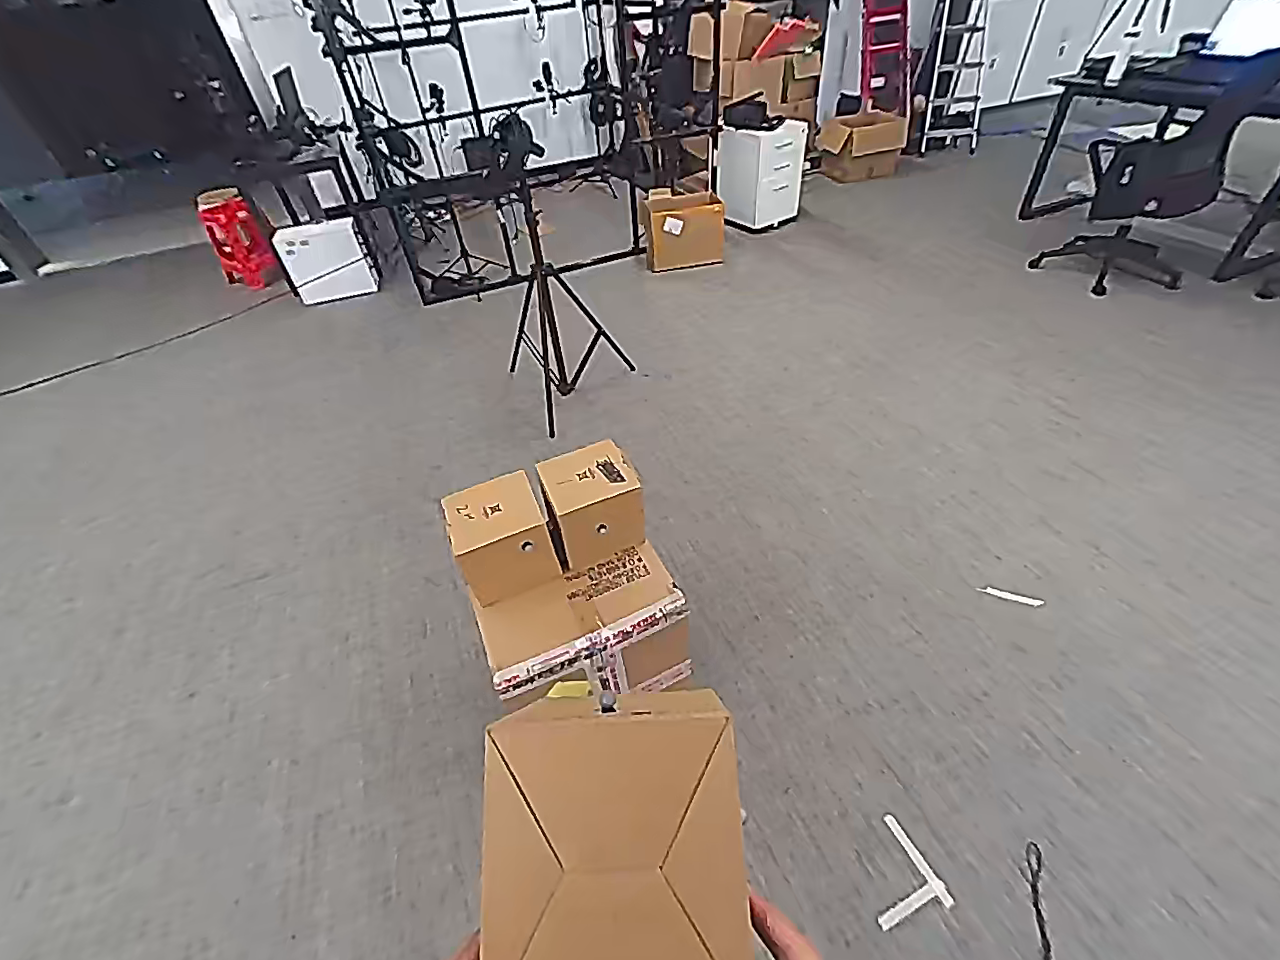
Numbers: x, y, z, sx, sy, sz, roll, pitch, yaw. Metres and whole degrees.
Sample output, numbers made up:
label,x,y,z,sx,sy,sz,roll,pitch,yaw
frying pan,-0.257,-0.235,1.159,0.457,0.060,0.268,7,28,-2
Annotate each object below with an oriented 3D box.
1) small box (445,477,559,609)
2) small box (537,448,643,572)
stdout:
label,x,y,z,sx,sy,sz,roll,pitch,yaw
small box,-0.273,0.130,1.100,0.179,0.176,0.168,-21,45,-12
small box,-0.102,0.064,1.150,0.179,0.176,0.168,-19,45,-15
